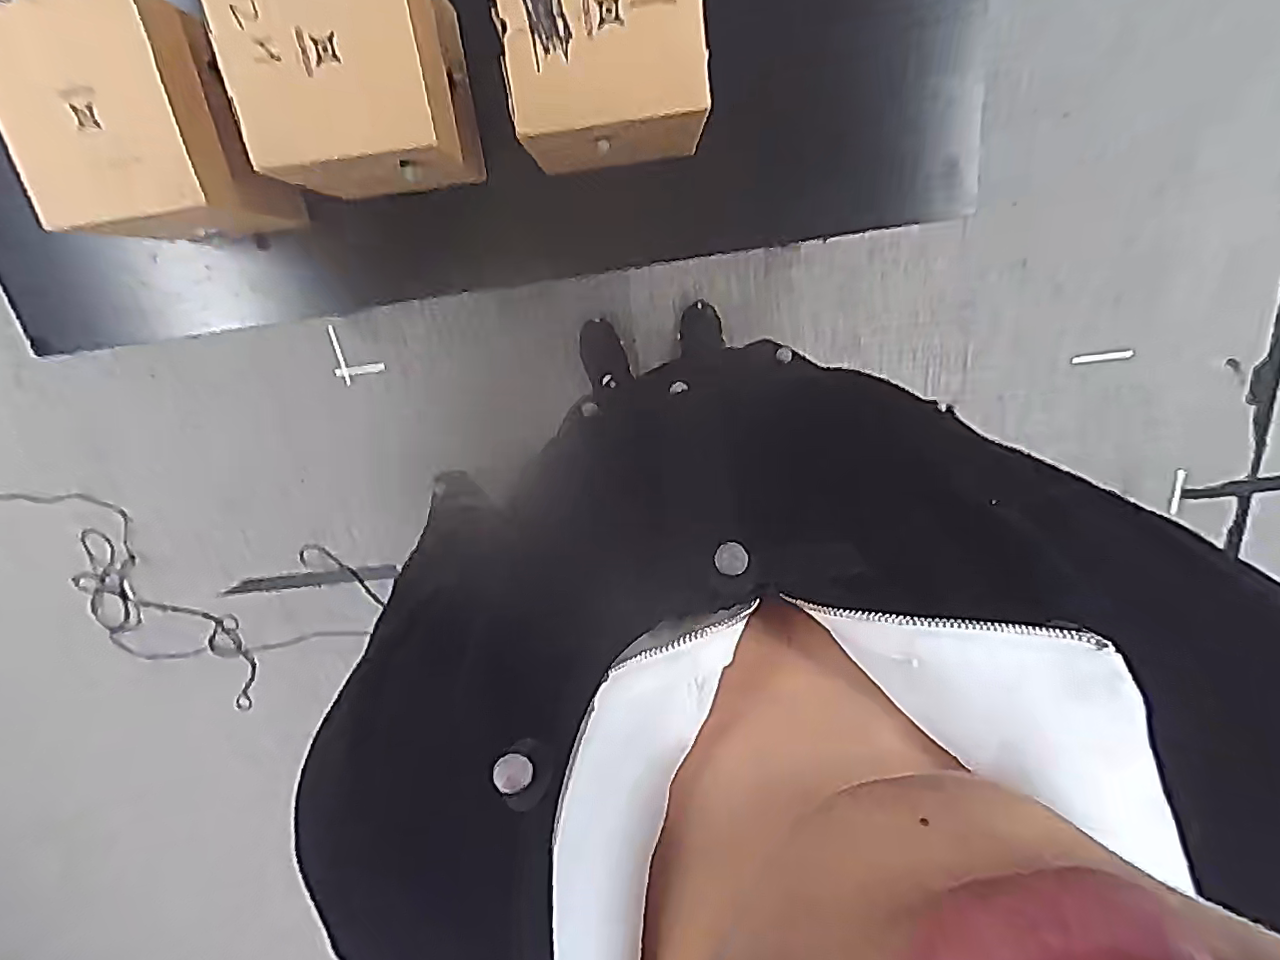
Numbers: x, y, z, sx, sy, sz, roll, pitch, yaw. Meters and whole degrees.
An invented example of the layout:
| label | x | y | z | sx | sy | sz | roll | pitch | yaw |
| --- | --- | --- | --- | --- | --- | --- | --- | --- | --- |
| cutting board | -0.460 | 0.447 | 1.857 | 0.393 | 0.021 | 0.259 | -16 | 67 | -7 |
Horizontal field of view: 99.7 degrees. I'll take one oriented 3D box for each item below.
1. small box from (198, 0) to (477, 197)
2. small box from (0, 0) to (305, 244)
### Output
| label | x | y | z | sx | sy | sz | roll | pitch | yaw |
| --- | --- | --- | --- | --- | --- | --- | --- | --- | --- |
| small box | -0.274 | -0.391 | 0.532 | 0.179 | 0.176 | 0.168 | -6 | 109 | 3 |
| small box | -0.489 | -0.350 | 0.550 | 0.168 | 0.176 | 0.179 | -7 | 110 | 4 |
